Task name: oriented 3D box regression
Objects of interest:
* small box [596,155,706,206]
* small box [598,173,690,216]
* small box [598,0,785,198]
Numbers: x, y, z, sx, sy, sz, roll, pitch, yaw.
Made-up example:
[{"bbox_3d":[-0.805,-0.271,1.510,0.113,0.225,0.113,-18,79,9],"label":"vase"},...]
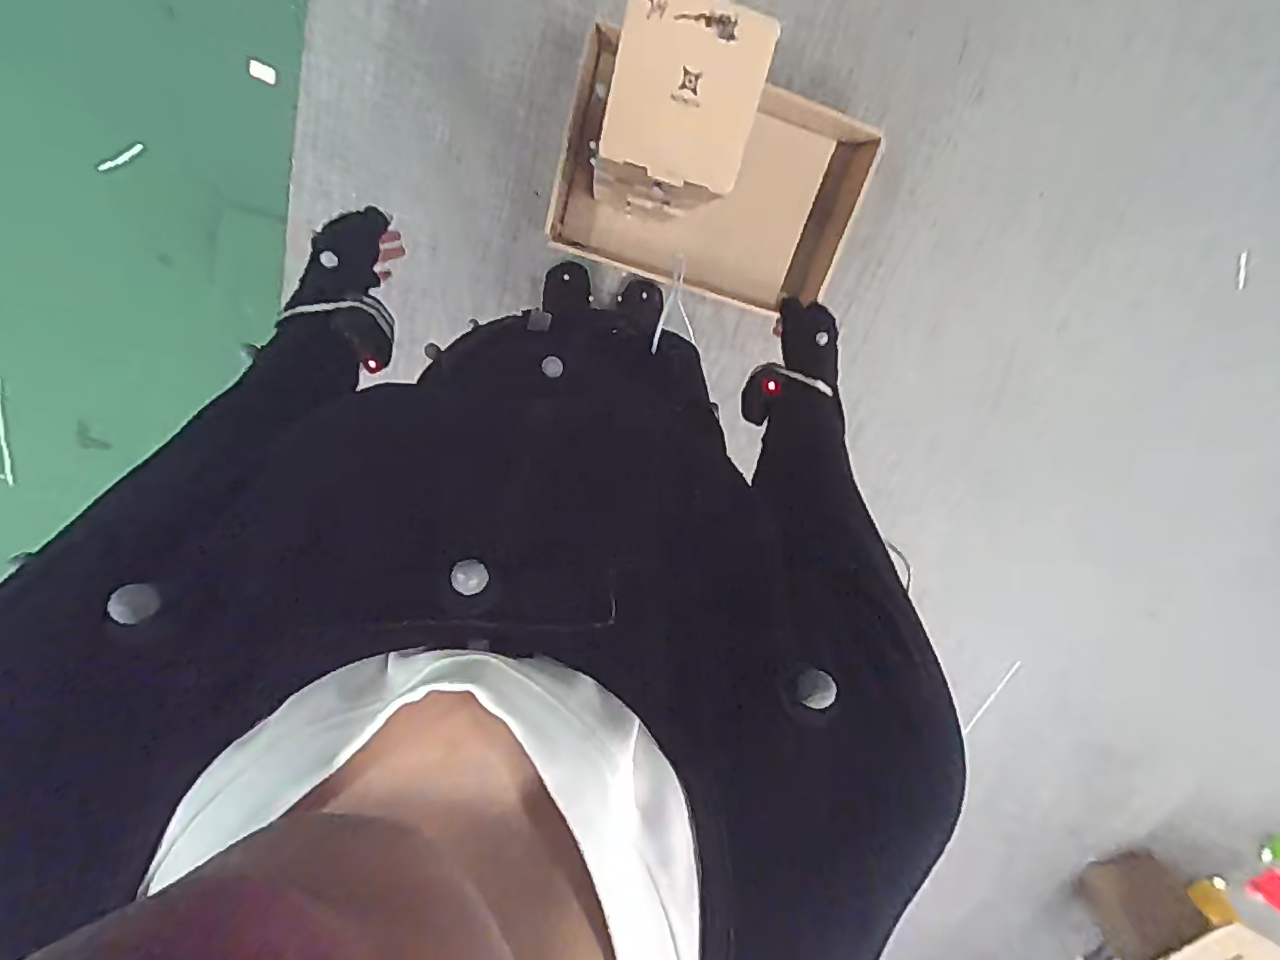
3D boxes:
[{"bbox_3d":[0.035,-0.527,0.813,0.168,0.176,0.179,13,113,-11],"label":"small box"},{"bbox_3d":[0.023,-0.589,0.963,0.168,0.176,0.179,14,113,-11],"label":"small box"},{"bbox_3d":[0.049,-0.462,0.663,0.168,0.176,0.179,12,114,-11],"label":"small box"}]
